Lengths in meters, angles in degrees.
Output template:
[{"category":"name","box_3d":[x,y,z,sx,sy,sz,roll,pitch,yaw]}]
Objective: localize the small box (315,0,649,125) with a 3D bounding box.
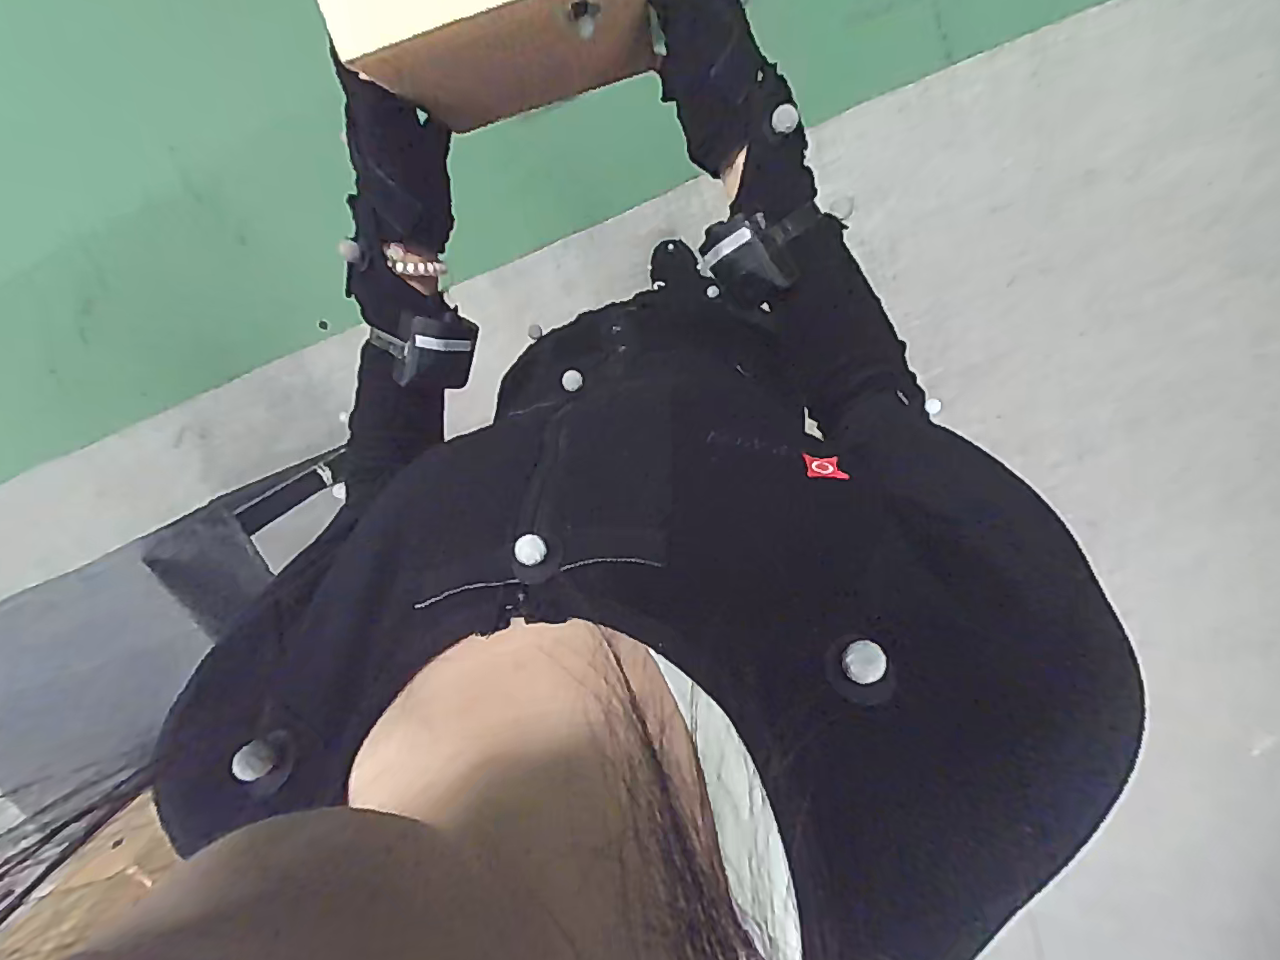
[{"category":"small box","box_3d":[-0.098,-0.350,0.333,0.179,0.176,0.168,-14,110,8]}]

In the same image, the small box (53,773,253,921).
[{"category":"small box","box_3d":[-0.843,0.659,0.965,0.179,0.176,0.168,-20,109,11]}]

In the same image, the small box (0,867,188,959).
[{"category":"small box","box_3d":[-0.858,0.735,0.819,0.179,0.176,0.168,-22,110,10]}]
